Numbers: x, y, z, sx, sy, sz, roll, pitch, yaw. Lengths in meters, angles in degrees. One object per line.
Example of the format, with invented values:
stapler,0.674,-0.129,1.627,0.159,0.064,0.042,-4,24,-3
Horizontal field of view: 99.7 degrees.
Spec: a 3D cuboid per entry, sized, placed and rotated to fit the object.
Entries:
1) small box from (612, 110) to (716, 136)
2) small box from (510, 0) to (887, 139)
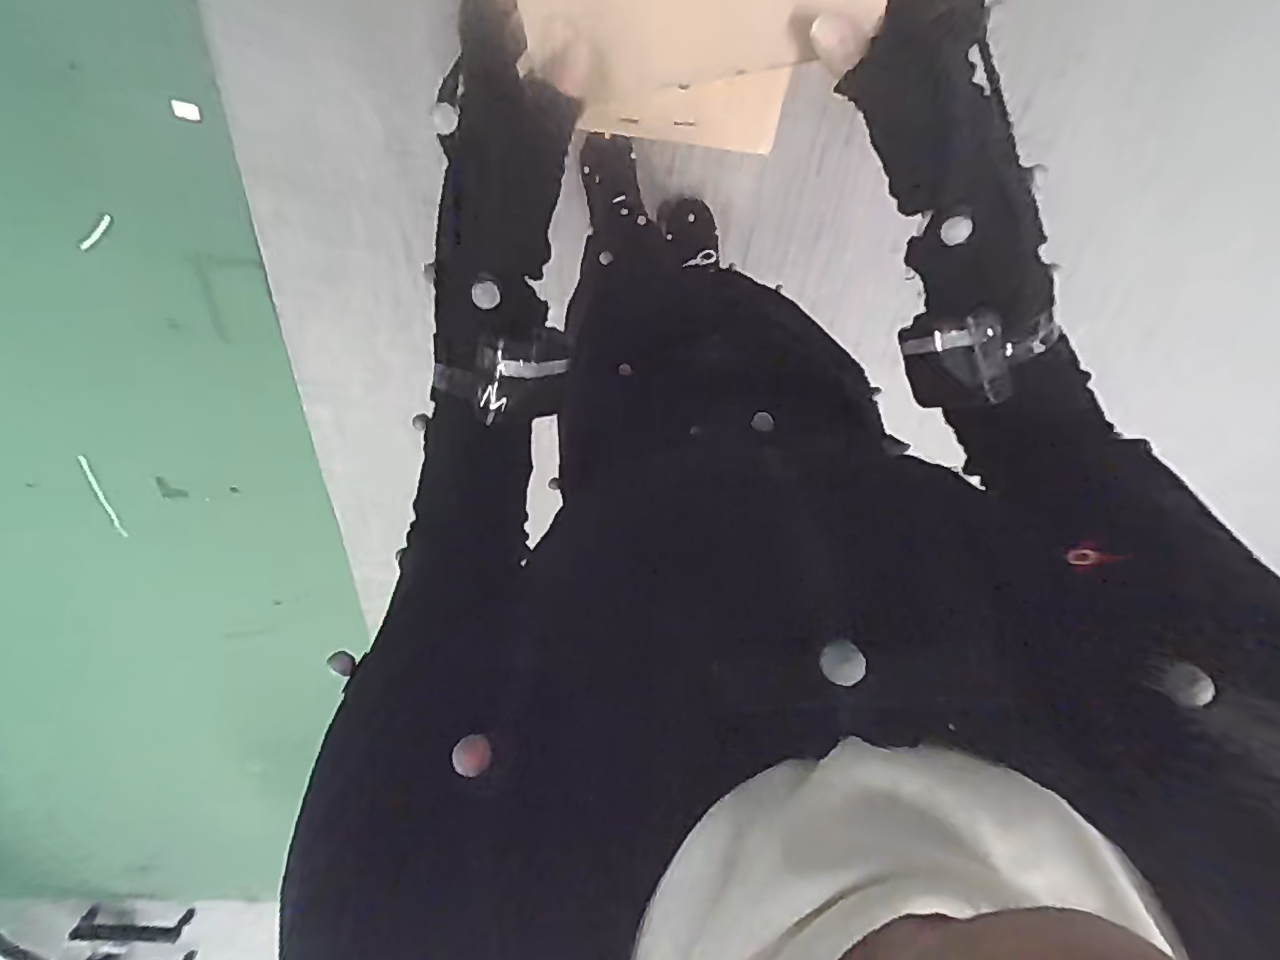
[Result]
small box,0.022,-0.575,0.718,0.168,0.176,0.179,2,128,-3
small box,0.021,-0.306,0.277,0.179,0.176,0.168,-6,137,7
